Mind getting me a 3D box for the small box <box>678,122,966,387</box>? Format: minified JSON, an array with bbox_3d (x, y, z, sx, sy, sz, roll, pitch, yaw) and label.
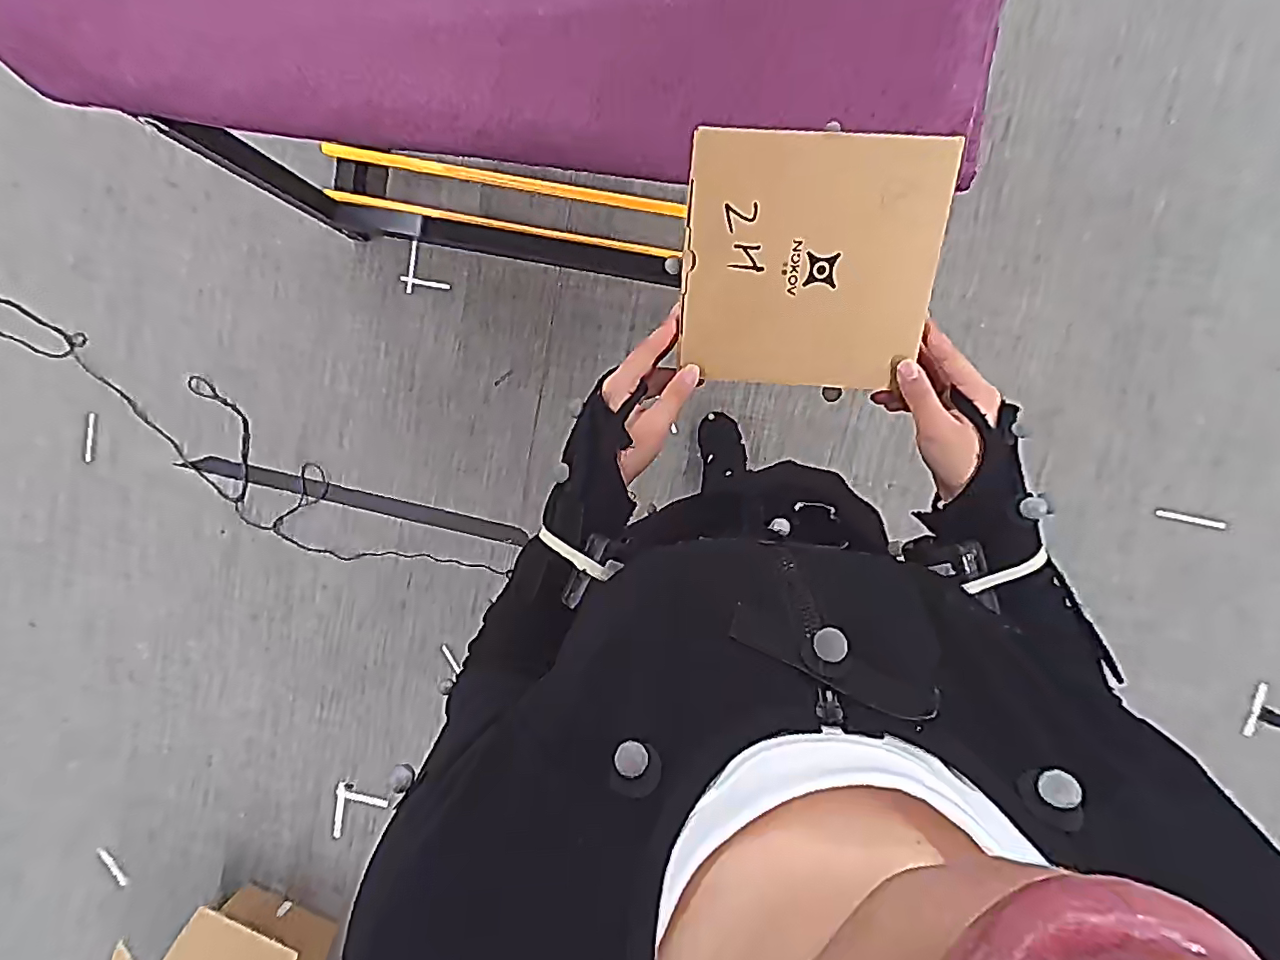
[{"bbox_3d":[0.126,-0.180,0.455,0.179,0.176,0.168,5,110,3],"label":"small box"}]
